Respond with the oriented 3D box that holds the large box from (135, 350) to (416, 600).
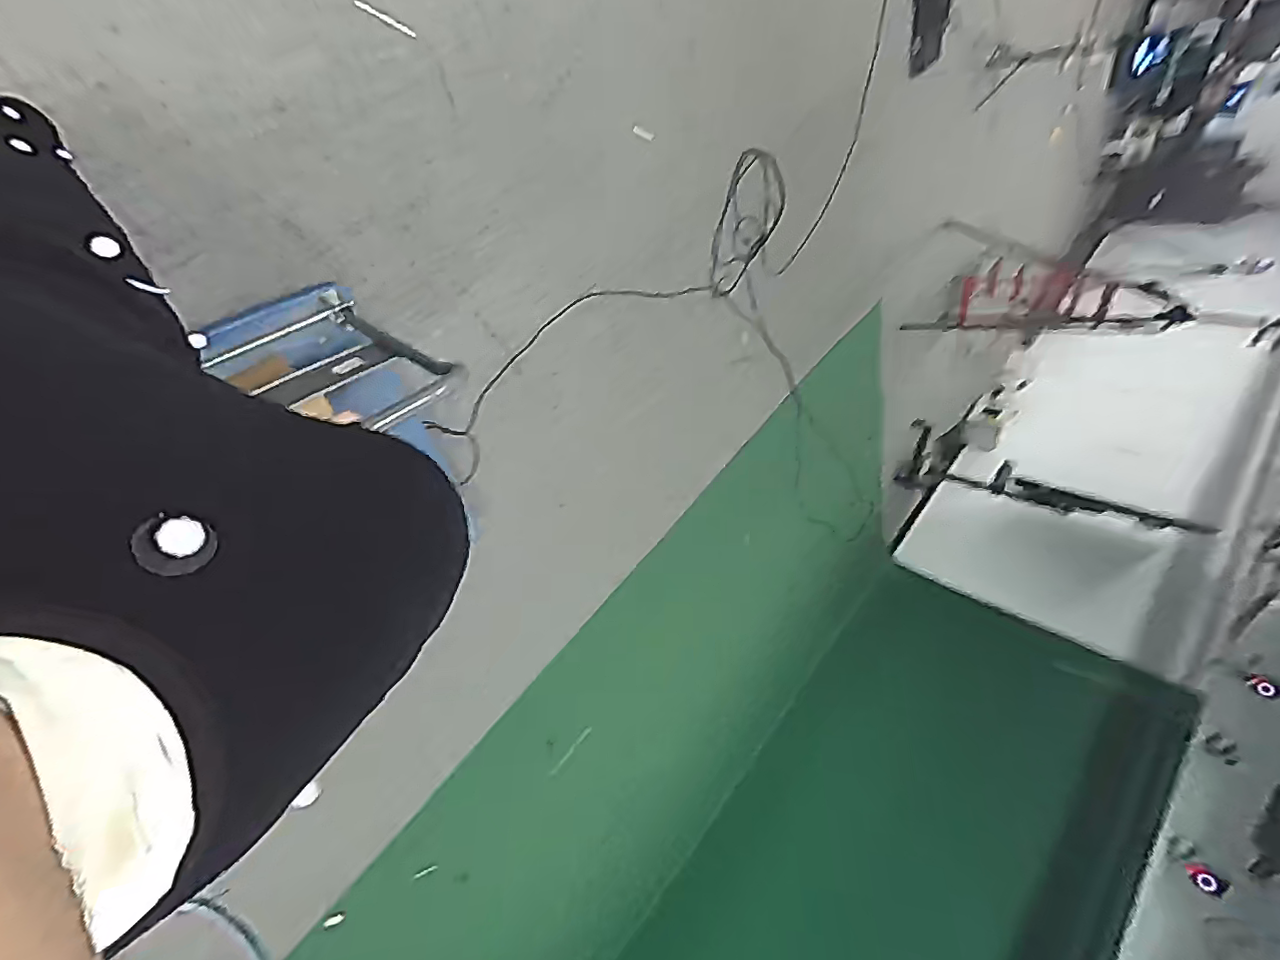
[{"bbox_3d":[-0.791,-0.021,1.205,0.320,0.320,0.408,-39,134,-26],"label":"large box"}]
